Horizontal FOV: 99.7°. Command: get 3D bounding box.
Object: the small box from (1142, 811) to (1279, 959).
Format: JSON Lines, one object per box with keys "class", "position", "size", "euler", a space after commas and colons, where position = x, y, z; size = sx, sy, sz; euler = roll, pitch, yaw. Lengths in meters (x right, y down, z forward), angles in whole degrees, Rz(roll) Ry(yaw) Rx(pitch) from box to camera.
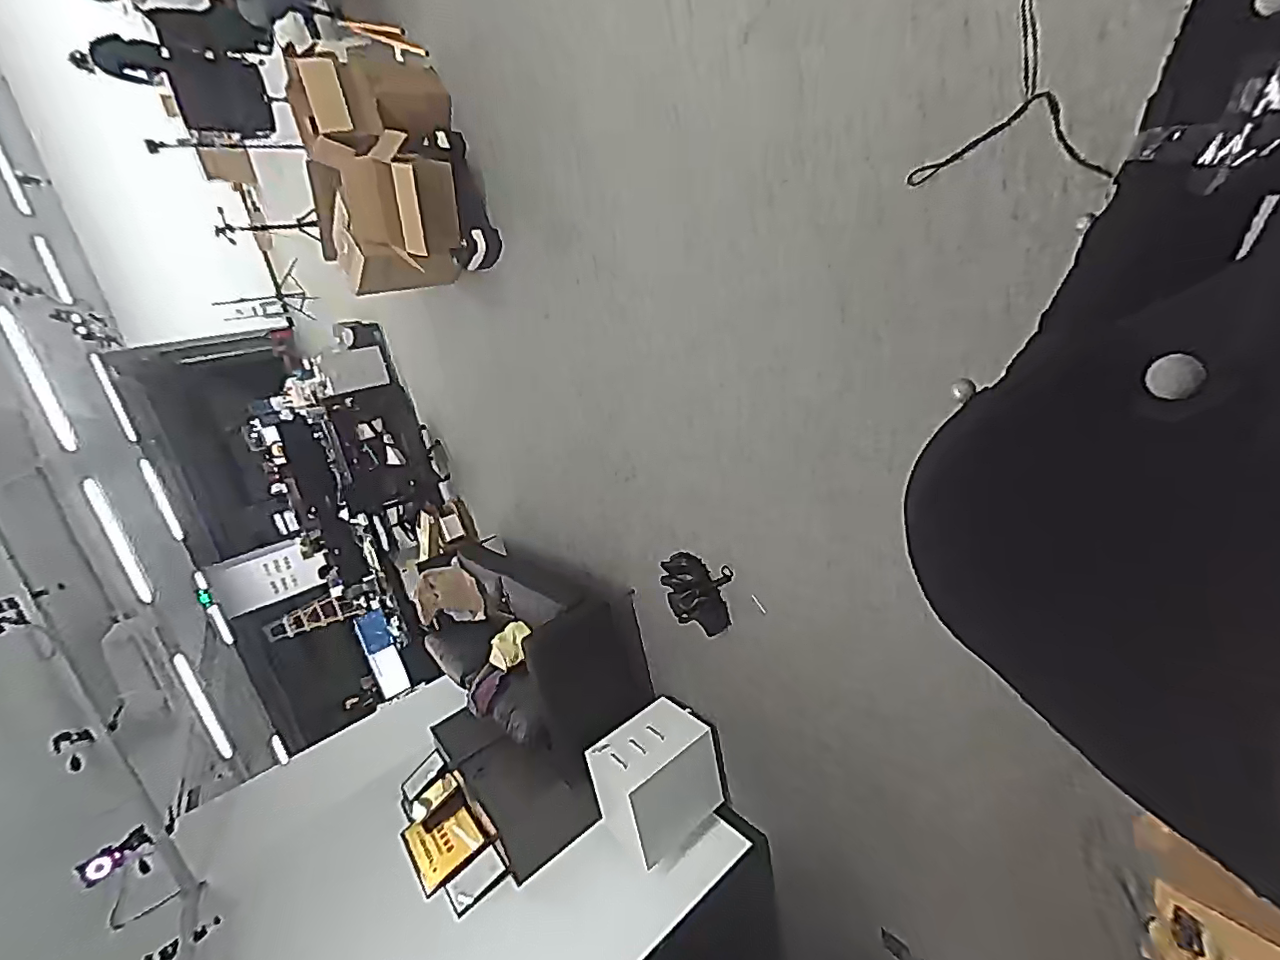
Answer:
{"class": "small box", "position": [0.902, 0.643, 0.812], "size": [0.179, 0.176, 0.168], "euler": [15, 120, 49]}
